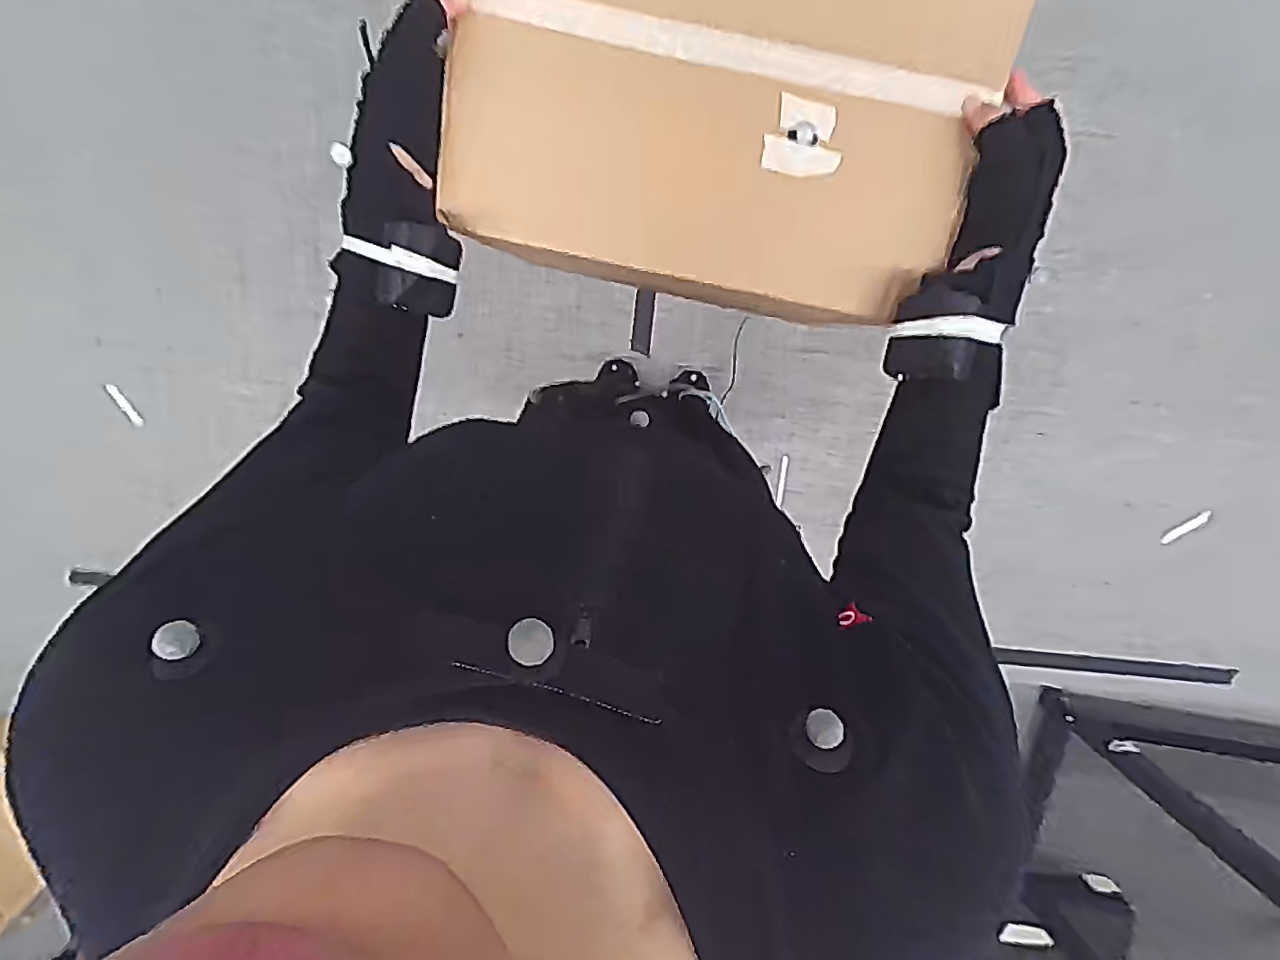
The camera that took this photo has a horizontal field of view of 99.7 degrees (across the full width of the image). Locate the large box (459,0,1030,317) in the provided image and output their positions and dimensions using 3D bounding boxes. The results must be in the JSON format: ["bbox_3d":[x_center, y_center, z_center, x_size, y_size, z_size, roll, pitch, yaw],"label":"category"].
[{"bbox_3d":[0.074,-0.360,0.548,0.408,0.320,0.320,12,107,-3],"label":"large box"}]
